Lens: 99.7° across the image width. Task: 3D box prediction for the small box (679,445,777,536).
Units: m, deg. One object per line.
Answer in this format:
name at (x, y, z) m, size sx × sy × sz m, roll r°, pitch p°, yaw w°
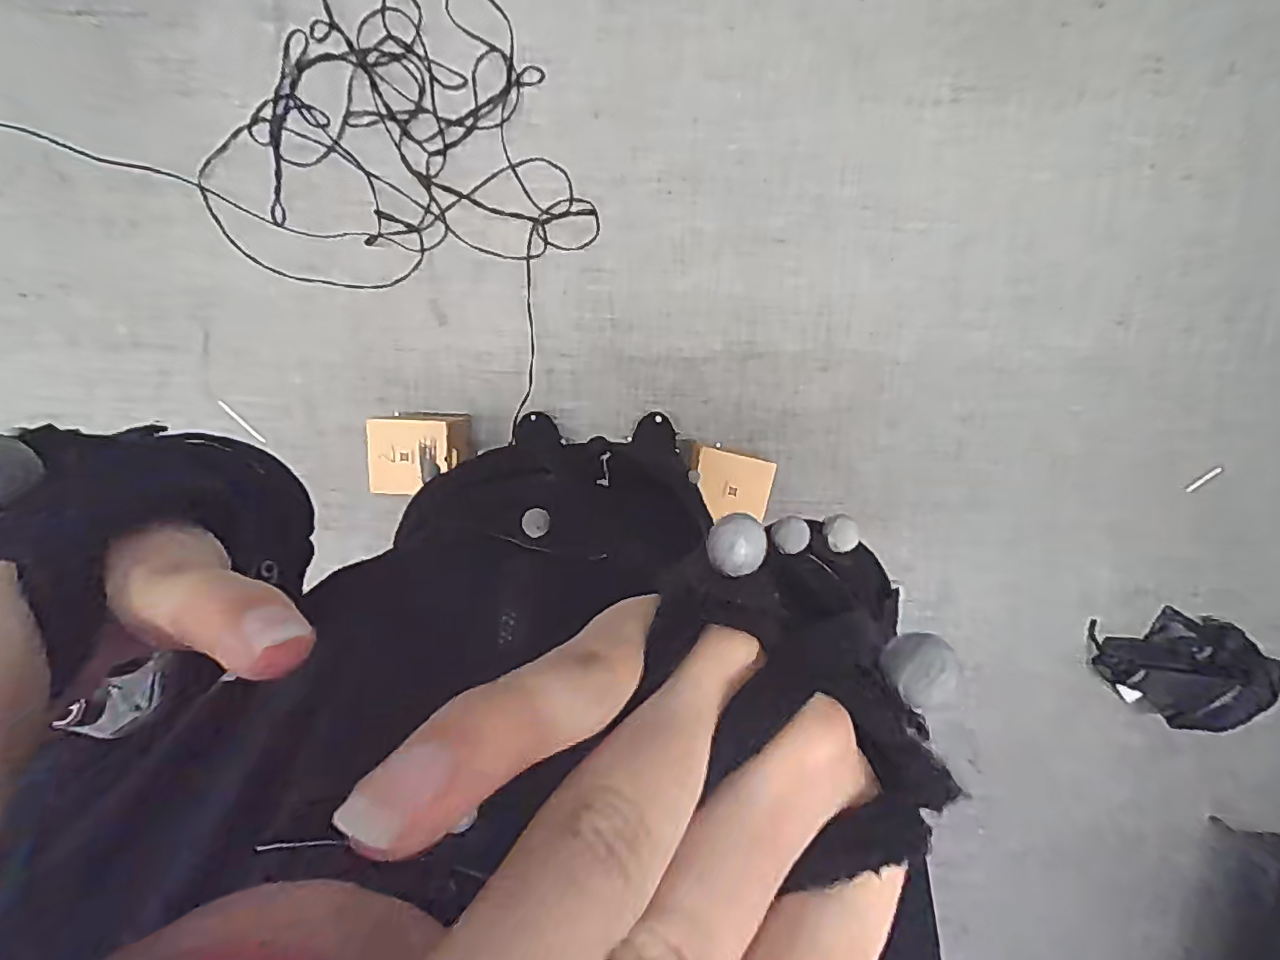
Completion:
small box at (0.200, 0.017, 1.280) m, size 0.179 × 0.176 × 0.168 m, roll 12°, pitch 99°, yaw -3°
